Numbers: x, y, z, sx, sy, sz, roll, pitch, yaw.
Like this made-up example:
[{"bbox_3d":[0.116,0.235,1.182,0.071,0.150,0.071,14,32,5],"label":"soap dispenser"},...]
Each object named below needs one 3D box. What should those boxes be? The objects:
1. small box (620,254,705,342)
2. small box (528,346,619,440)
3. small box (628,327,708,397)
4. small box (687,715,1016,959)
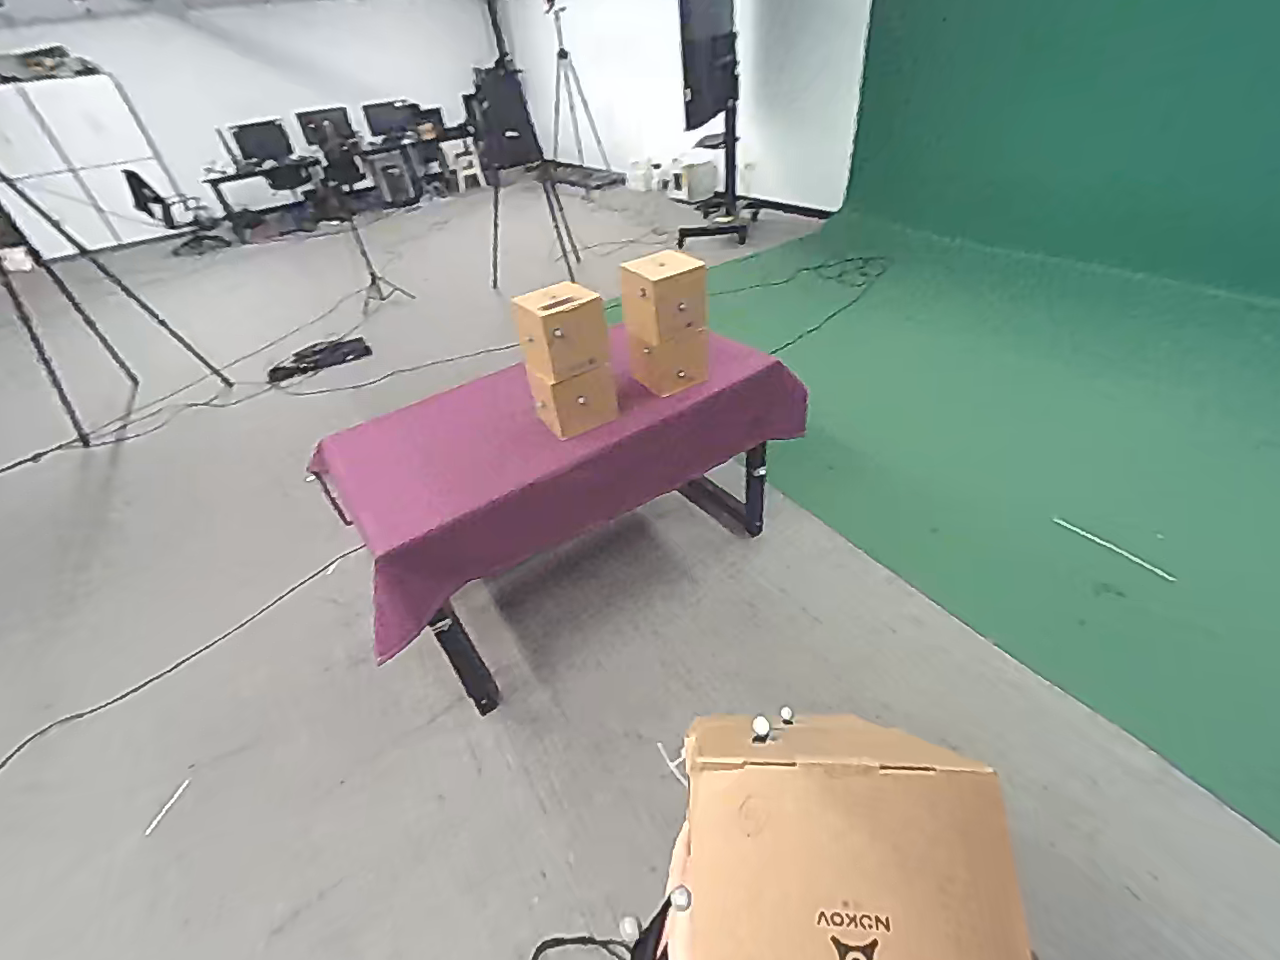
[{"bbox_3d":[0.065,-0.491,1.465,0.168,0.176,0.179,-25,42,-21],"label":"small box"},{"bbox_3d":[-0.174,-0.232,1.448,0.179,0.176,0.168,-26,42,-20],"label":"small box"},{"bbox_3d":[0.082,-0.363,1.568,0.168,0.176,0.179,-25,42,-19],"label":"small box"},{"bbox_3d":[0.117,0.257,0.358,0.168,0.176,0.179,-3,72,8],"label":"small box"}]
